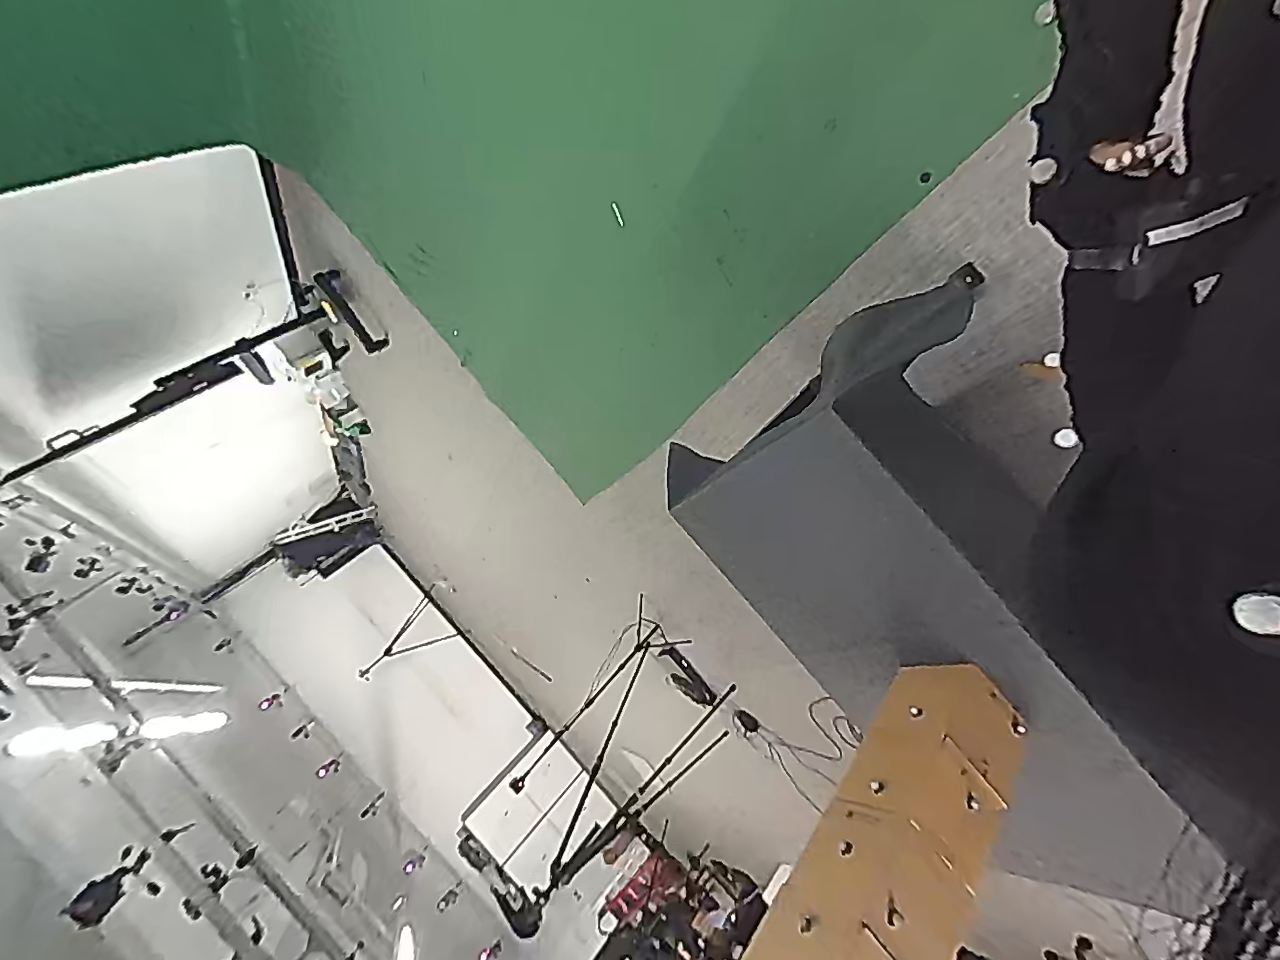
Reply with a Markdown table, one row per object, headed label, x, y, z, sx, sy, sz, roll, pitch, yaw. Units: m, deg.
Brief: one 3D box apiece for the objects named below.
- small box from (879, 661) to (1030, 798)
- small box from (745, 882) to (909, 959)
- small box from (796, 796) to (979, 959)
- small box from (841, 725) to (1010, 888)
| label | x | y | z | sx | sy | sz | roll | pitch | yaw |
| --- | --- | --- | --- | --- | --- | --- | --- | --- | --- |
| small box | 0.607 | 0.467 | 1.038 | 0.168 | 0.176 | 0.179 | 49 | 150 | 0 |
| small box | 0.286 | 0.735 | 0.781 | 0.168 | 0.176 | 0.179 | 51 | 149 | -2 |
| small box | 0.395 | 0.647 | 0.866 | 0.179 | 0.176 | 0.168 | 50 | 149 | -1 |
| small box | 0.502 | 0.557 | 0.953 | 0.168 | 0.176 | 0.179 | 49 | 149 | 0 |
